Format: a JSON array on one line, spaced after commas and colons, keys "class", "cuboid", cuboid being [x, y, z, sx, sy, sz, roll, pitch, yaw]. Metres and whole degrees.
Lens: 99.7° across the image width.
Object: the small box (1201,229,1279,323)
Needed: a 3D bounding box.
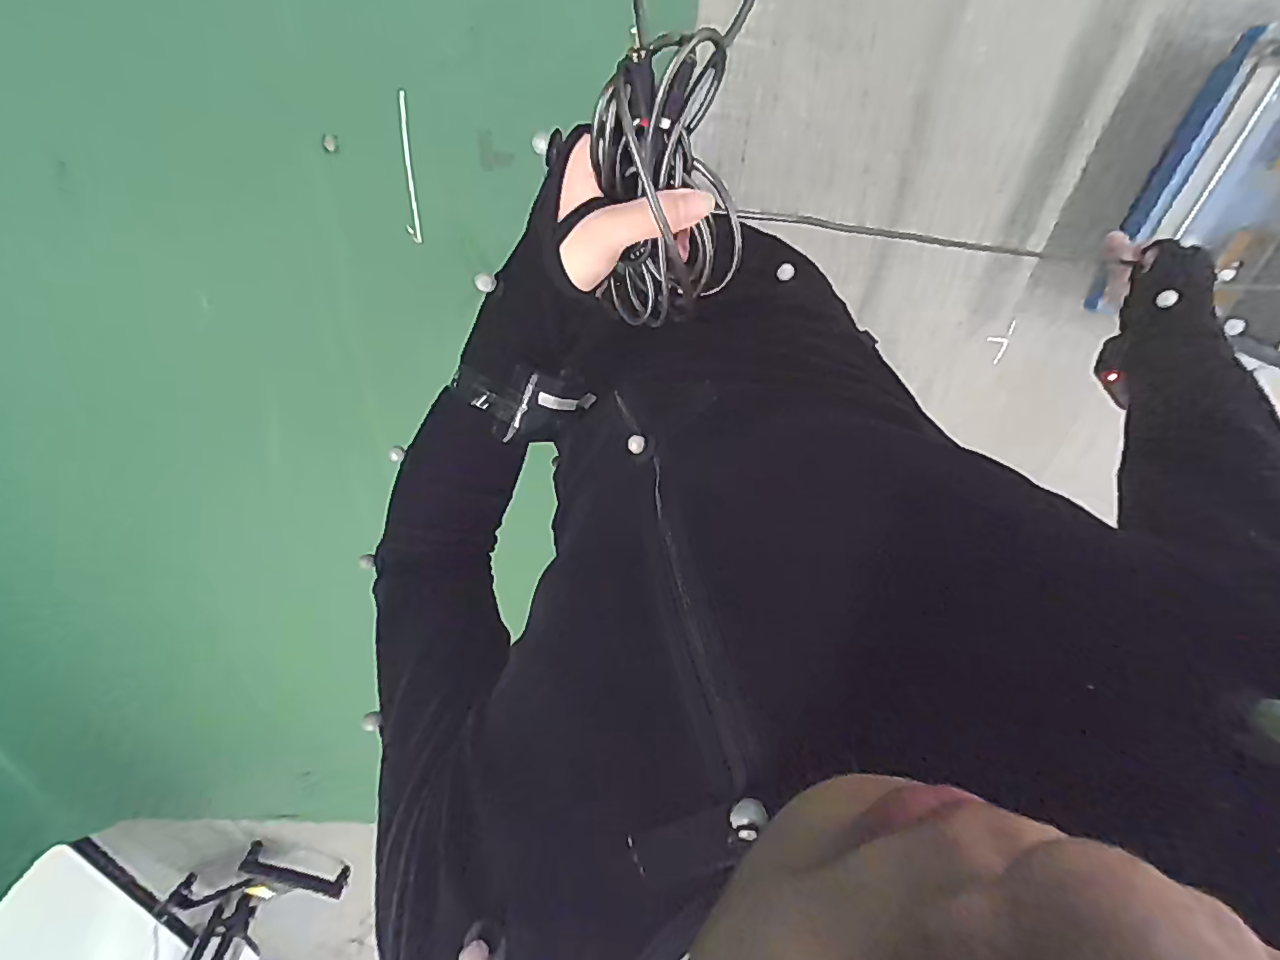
[{"class": "small box", "cuboid": [1.457, -0.454, 1.214, 0.179, 0.176, 0.168, 8, 123, -4]}]
